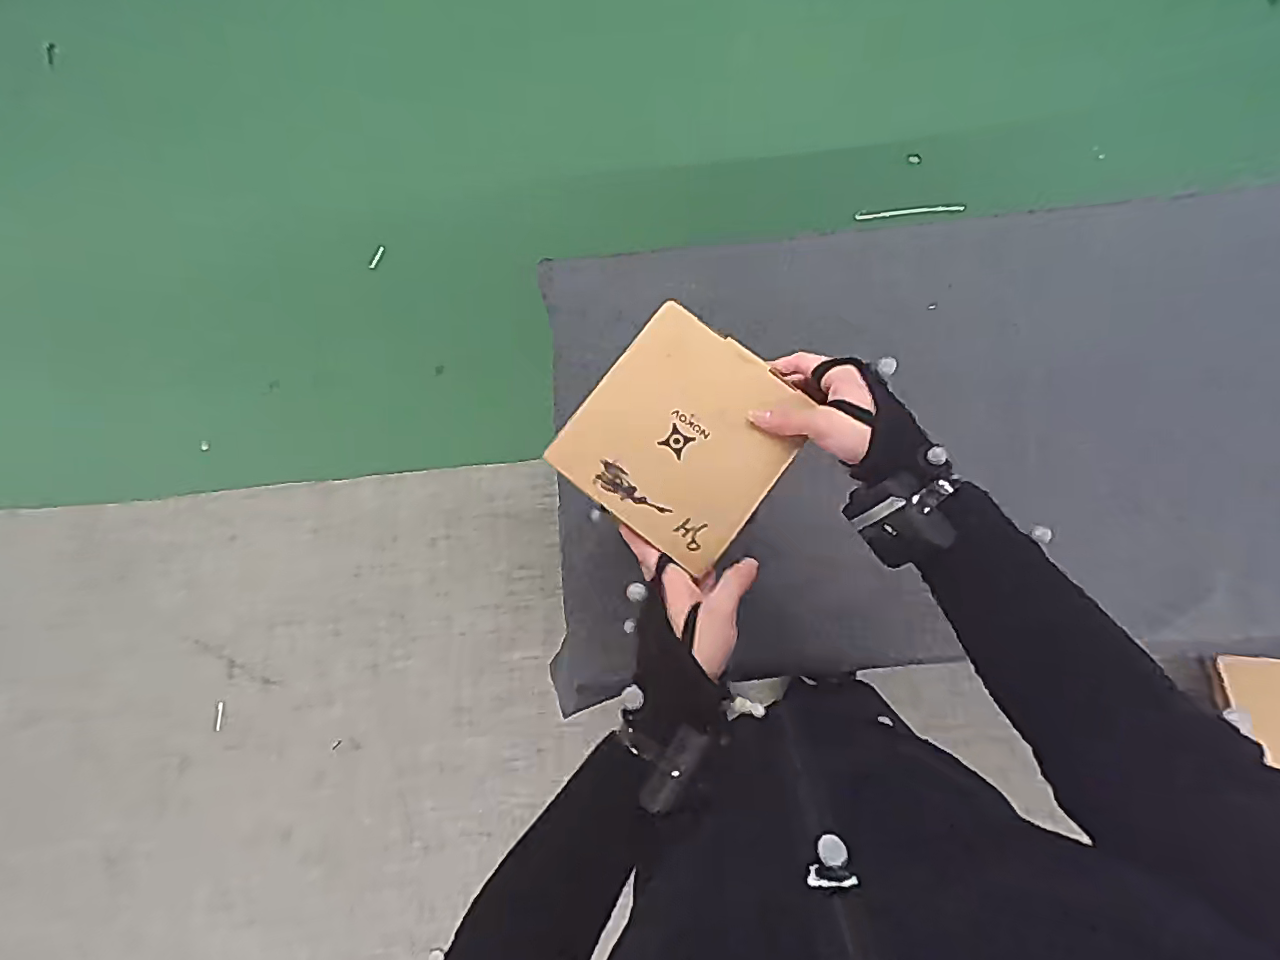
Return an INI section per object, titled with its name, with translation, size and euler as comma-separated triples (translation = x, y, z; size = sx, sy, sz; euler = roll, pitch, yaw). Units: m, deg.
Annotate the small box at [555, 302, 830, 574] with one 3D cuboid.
[small box]
translation = 0.047, -0.027, 0.524
size = 0.168, 0.176, 0.179
euler = 36, 85, 9
